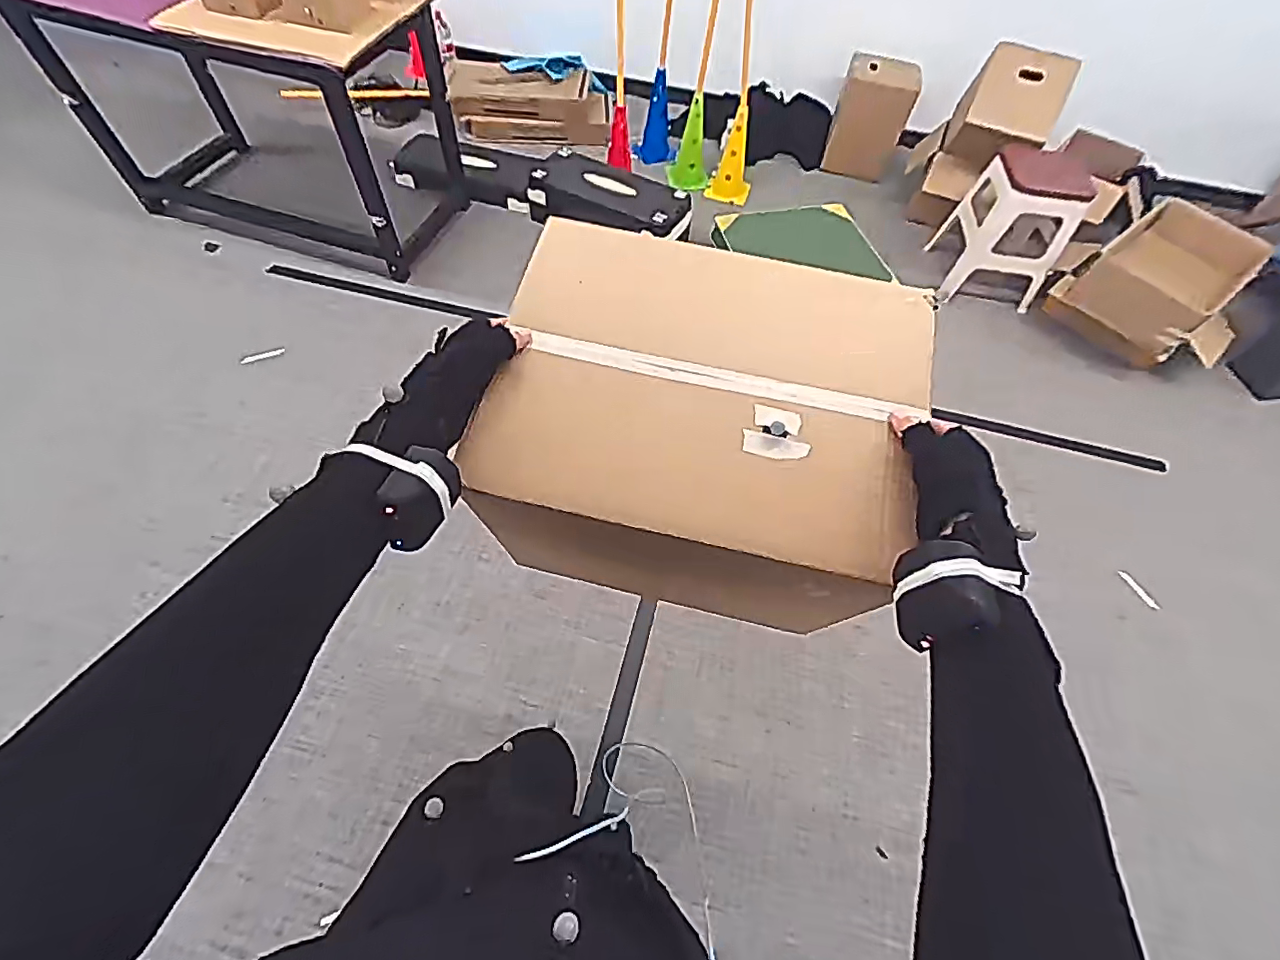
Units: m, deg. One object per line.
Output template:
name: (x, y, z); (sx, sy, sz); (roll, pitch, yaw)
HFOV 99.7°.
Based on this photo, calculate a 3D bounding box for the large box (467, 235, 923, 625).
large box: (0.064, -0.036, 0.659); (0.408, 0.320, 0.320); (13, 69, 4)
